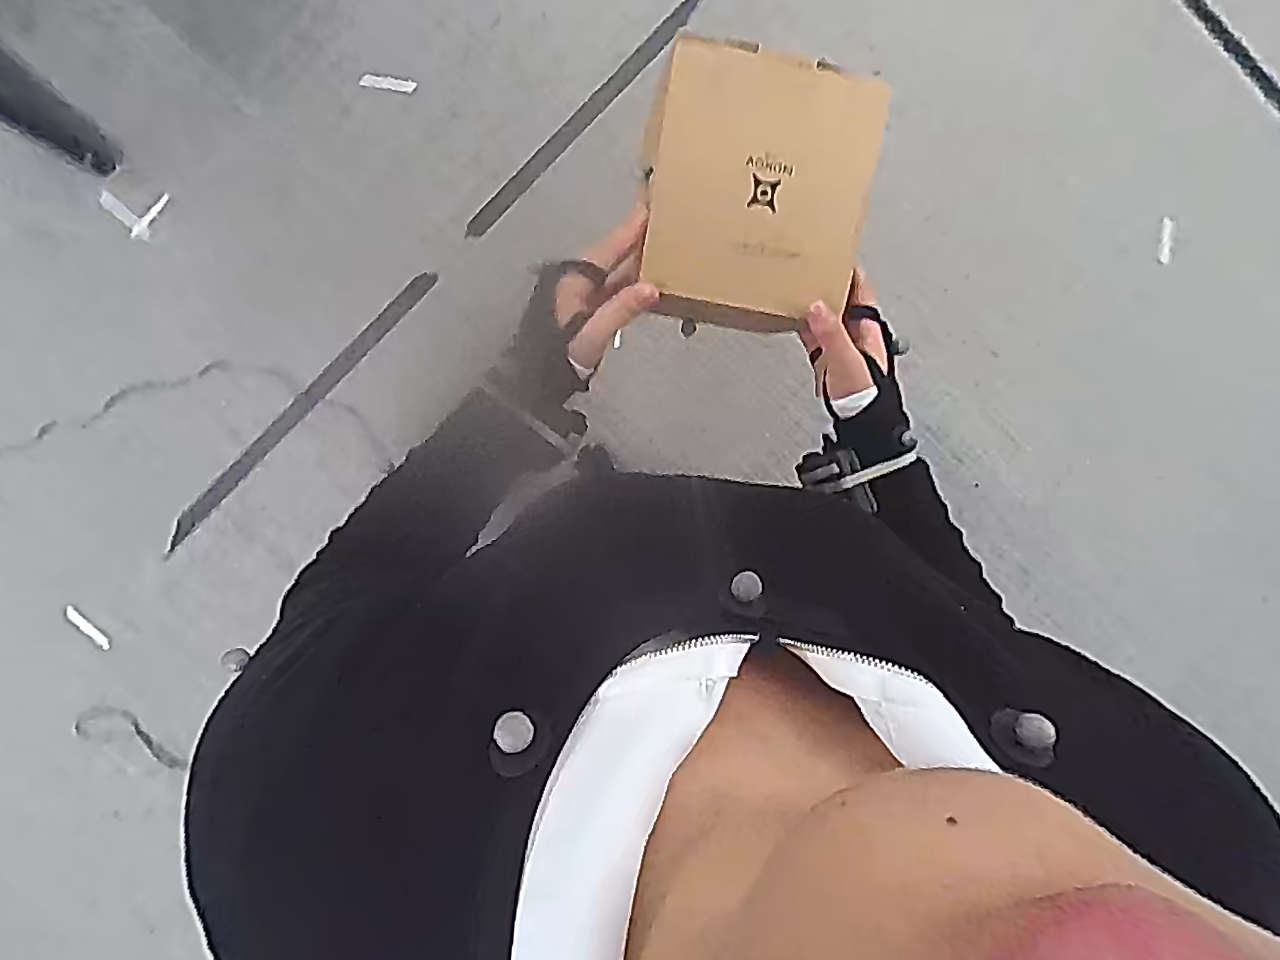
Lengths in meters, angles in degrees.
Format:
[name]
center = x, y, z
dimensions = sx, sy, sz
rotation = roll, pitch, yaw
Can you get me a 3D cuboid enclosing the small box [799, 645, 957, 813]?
[small box]
center = 0.406, 0.430, 0.963
dimensions = 0.168, 0.176, 0.179
rotation = 36, 91, -1
